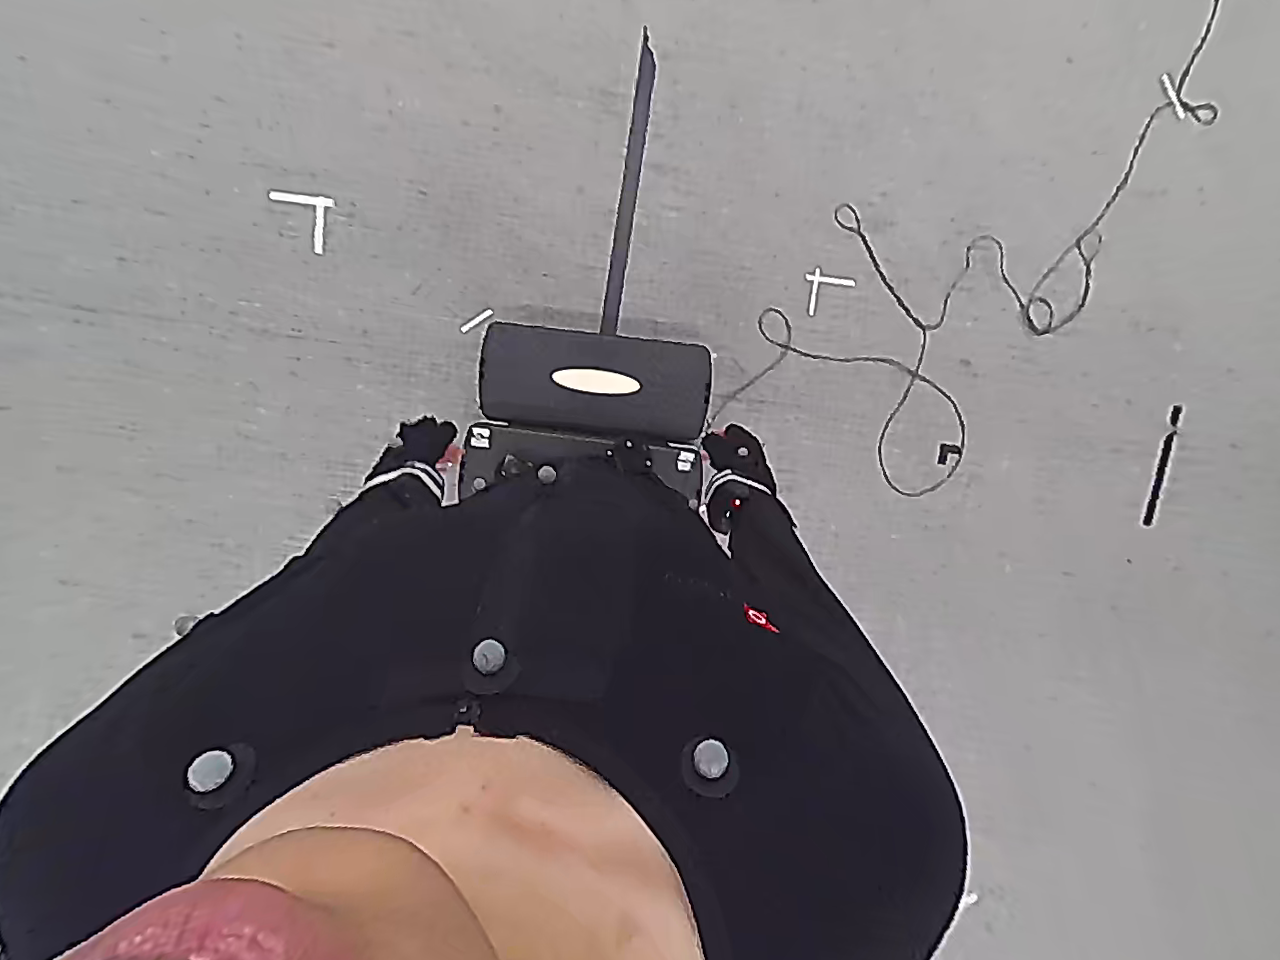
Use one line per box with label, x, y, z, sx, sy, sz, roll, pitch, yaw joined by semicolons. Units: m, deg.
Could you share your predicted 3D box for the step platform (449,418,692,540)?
step platform;-0.193;-0.004;1.567;0.684;0.204;0.286;6;95;-3
